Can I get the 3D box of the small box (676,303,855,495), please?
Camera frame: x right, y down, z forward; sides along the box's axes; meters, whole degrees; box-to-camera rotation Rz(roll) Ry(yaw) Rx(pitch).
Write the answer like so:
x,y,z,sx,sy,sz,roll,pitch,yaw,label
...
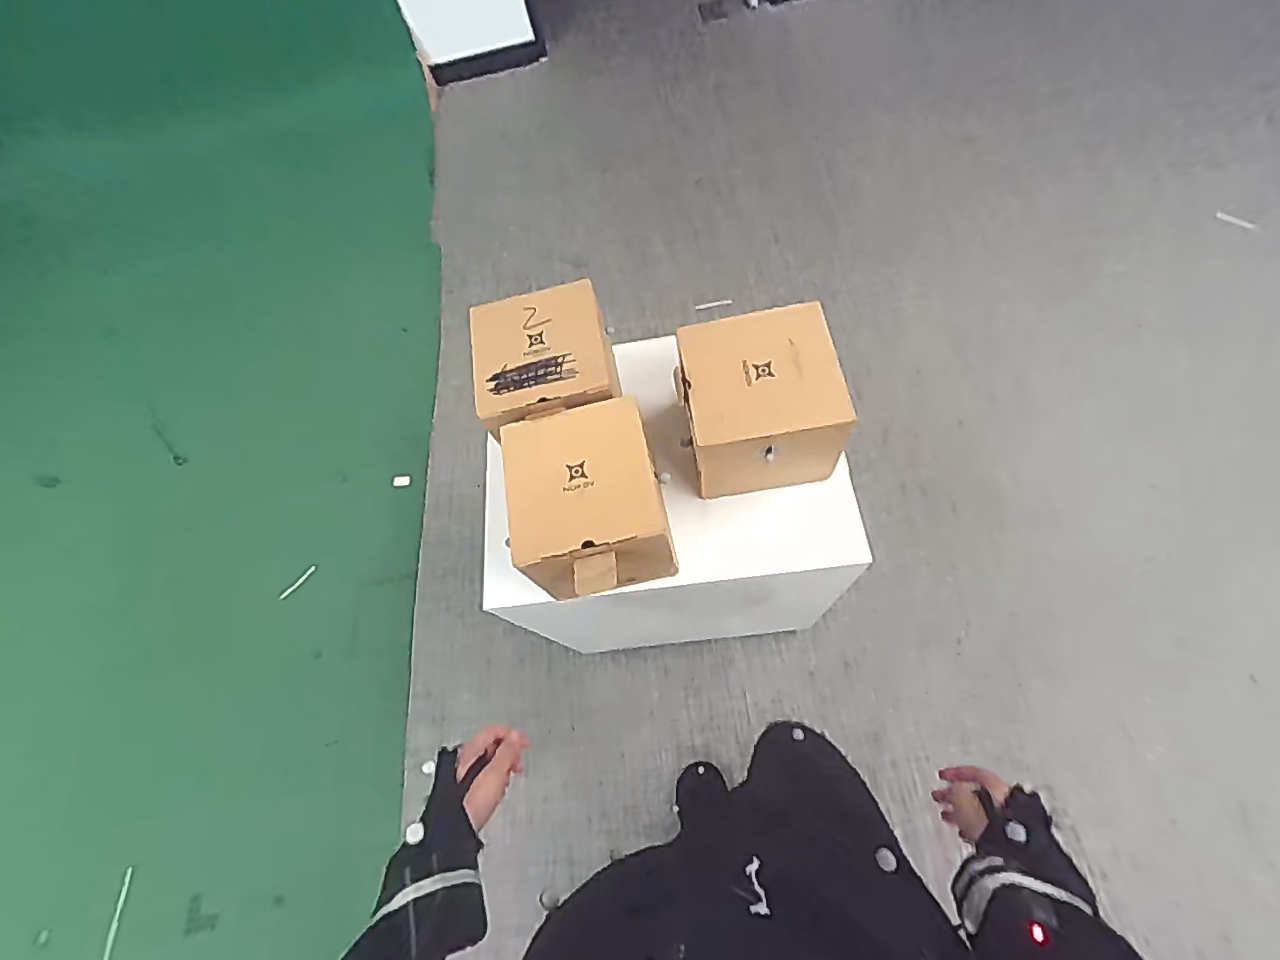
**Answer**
x,y,z,sx,sy,sz,roll,pitch,yaw,label
0.149,-0.091,0.686,0.179,0.176,0.168,-10,67,5,small box
